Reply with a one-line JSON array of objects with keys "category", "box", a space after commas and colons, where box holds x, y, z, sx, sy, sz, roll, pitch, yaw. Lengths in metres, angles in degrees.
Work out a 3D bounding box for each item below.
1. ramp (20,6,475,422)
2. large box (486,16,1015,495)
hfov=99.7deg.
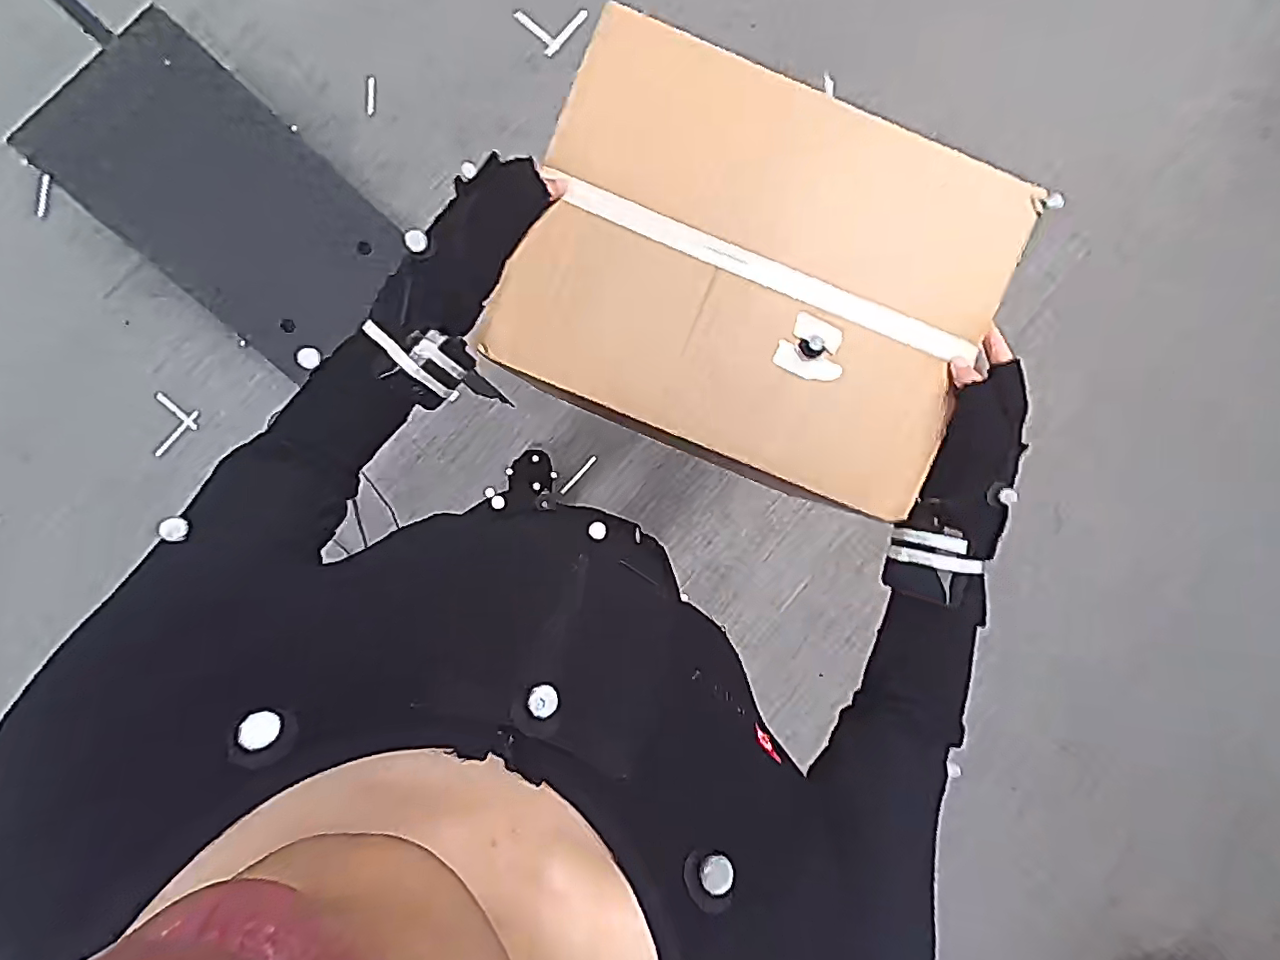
[{"category": "ramp", "box": [-0.970, -0.662, 1.409, 0.991, 0.206, 0.509, 40, 85, -1]}, {"category": "large box", "box": [0.093, -0.201, 0.627, 0.408, 0.320, 0.320, 21, 93, -2]}]
